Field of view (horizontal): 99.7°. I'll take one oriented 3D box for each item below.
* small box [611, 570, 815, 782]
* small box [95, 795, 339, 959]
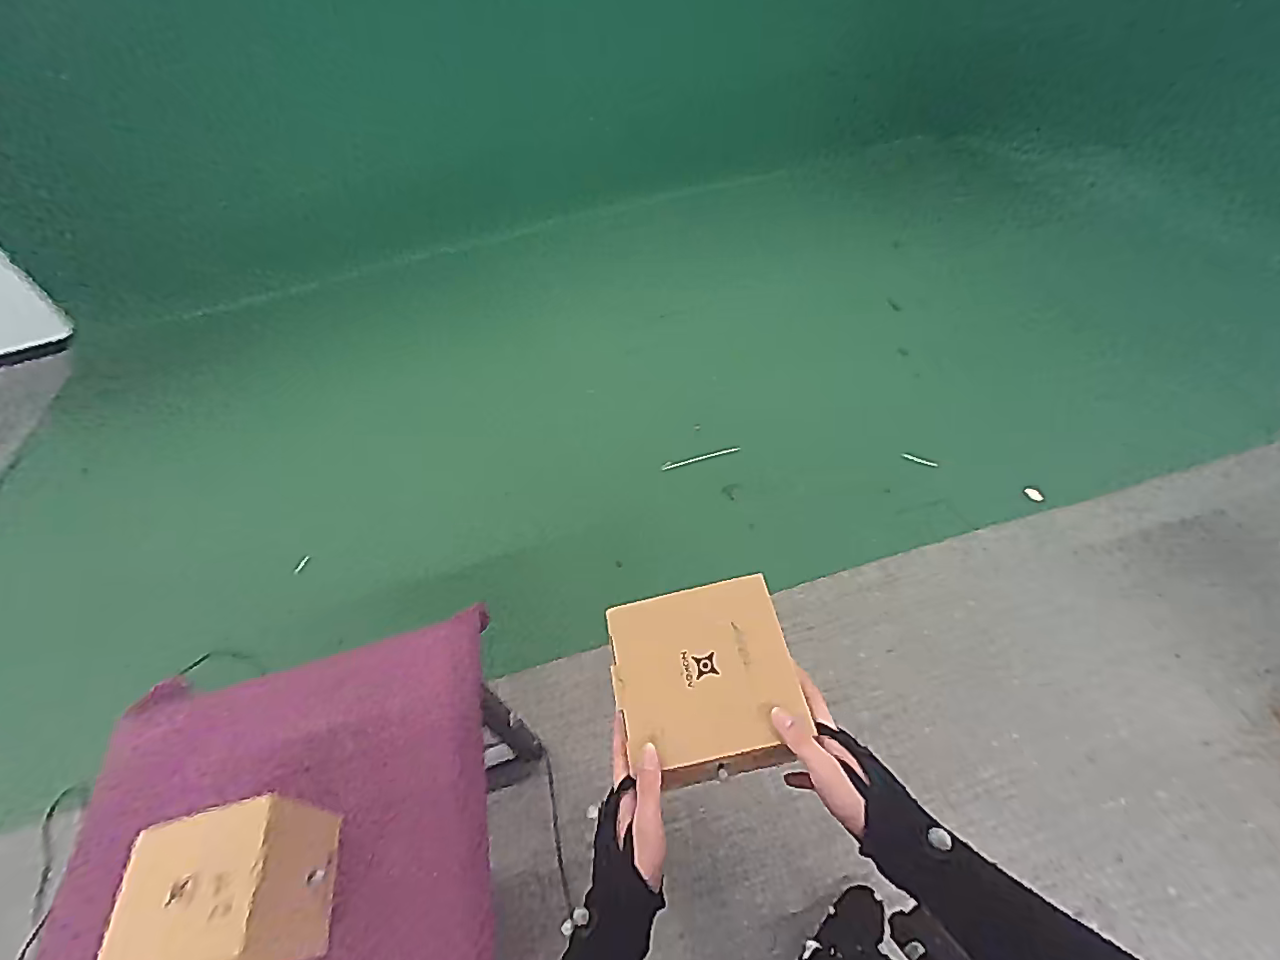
[{"bbox_3d":[0.076,0.224,0.601,0.179,0.176,0.168,-12,55,2],"label":"small box"},{"bbox_3d":[-0.534,0.540,0.707,0.179,0.176,0.168,-14,49,-3],"label":"small box"}]
